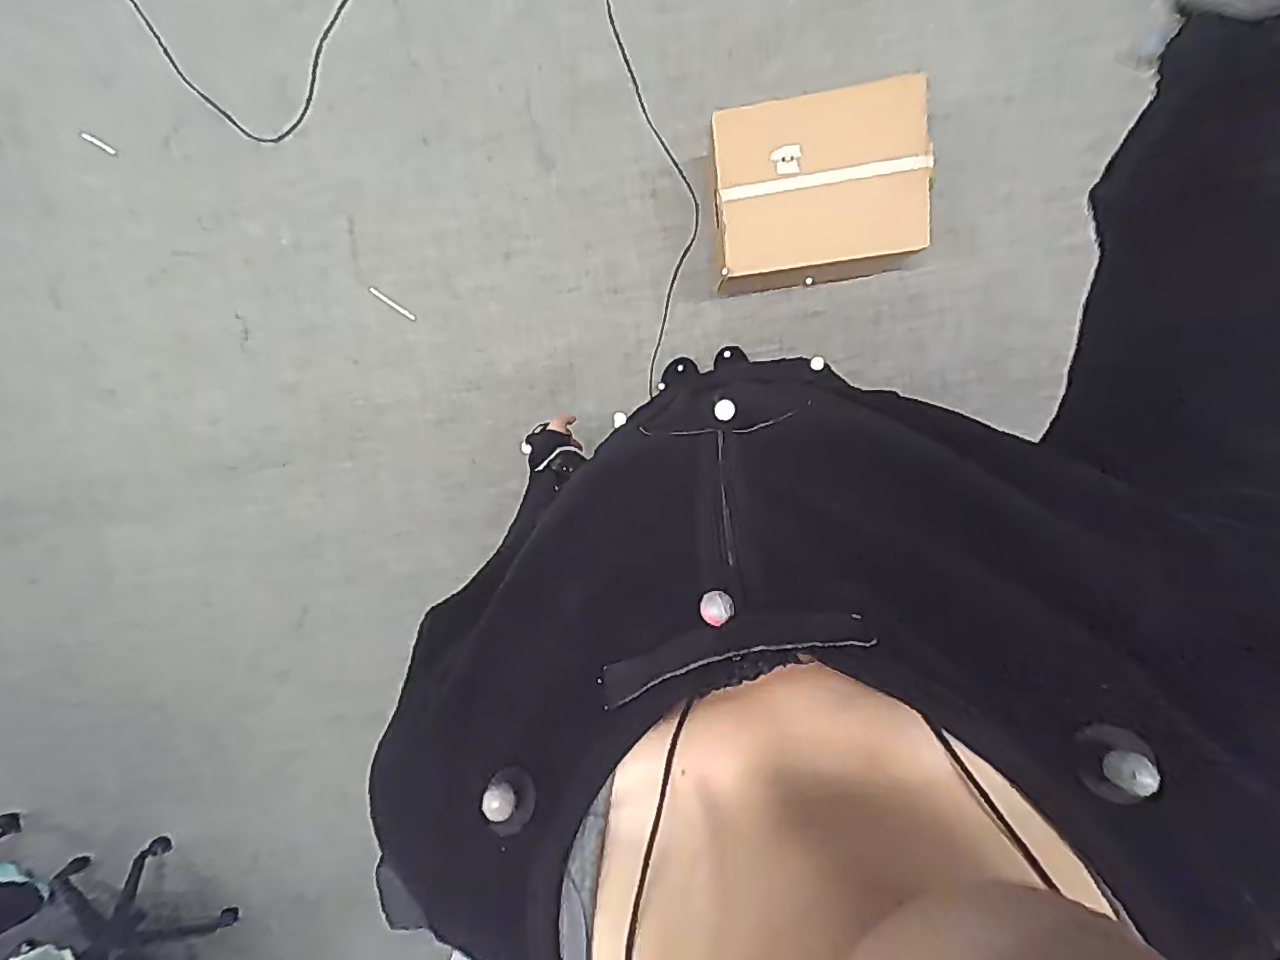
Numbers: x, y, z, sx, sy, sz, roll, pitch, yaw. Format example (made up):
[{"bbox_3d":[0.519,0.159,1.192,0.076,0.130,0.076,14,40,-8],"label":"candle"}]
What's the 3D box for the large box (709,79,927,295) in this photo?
[{"bbox_3d":[0.373,-0.620,1.217,0.408,0.320,0.320,-6,101,7],"label":"large box"}]
